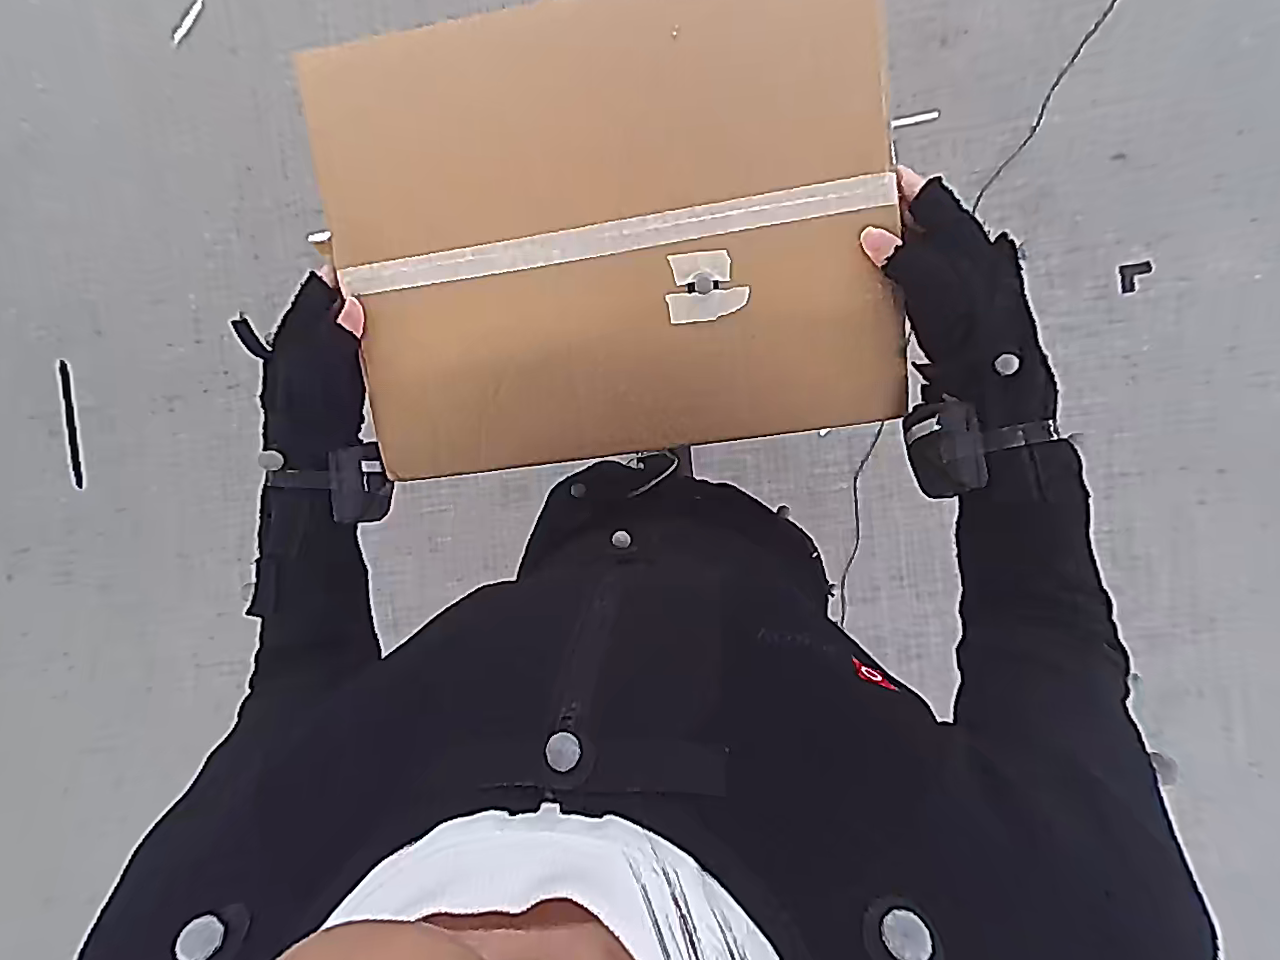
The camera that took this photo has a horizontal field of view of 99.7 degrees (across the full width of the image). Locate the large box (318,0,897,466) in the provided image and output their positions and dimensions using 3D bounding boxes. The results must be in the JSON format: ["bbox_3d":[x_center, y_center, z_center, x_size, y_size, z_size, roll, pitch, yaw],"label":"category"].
[{"bbox_3d":[-0.014,-0.212,0.549,0.408,0.320,0.320,-7,100,5],"label":"large box"}]
